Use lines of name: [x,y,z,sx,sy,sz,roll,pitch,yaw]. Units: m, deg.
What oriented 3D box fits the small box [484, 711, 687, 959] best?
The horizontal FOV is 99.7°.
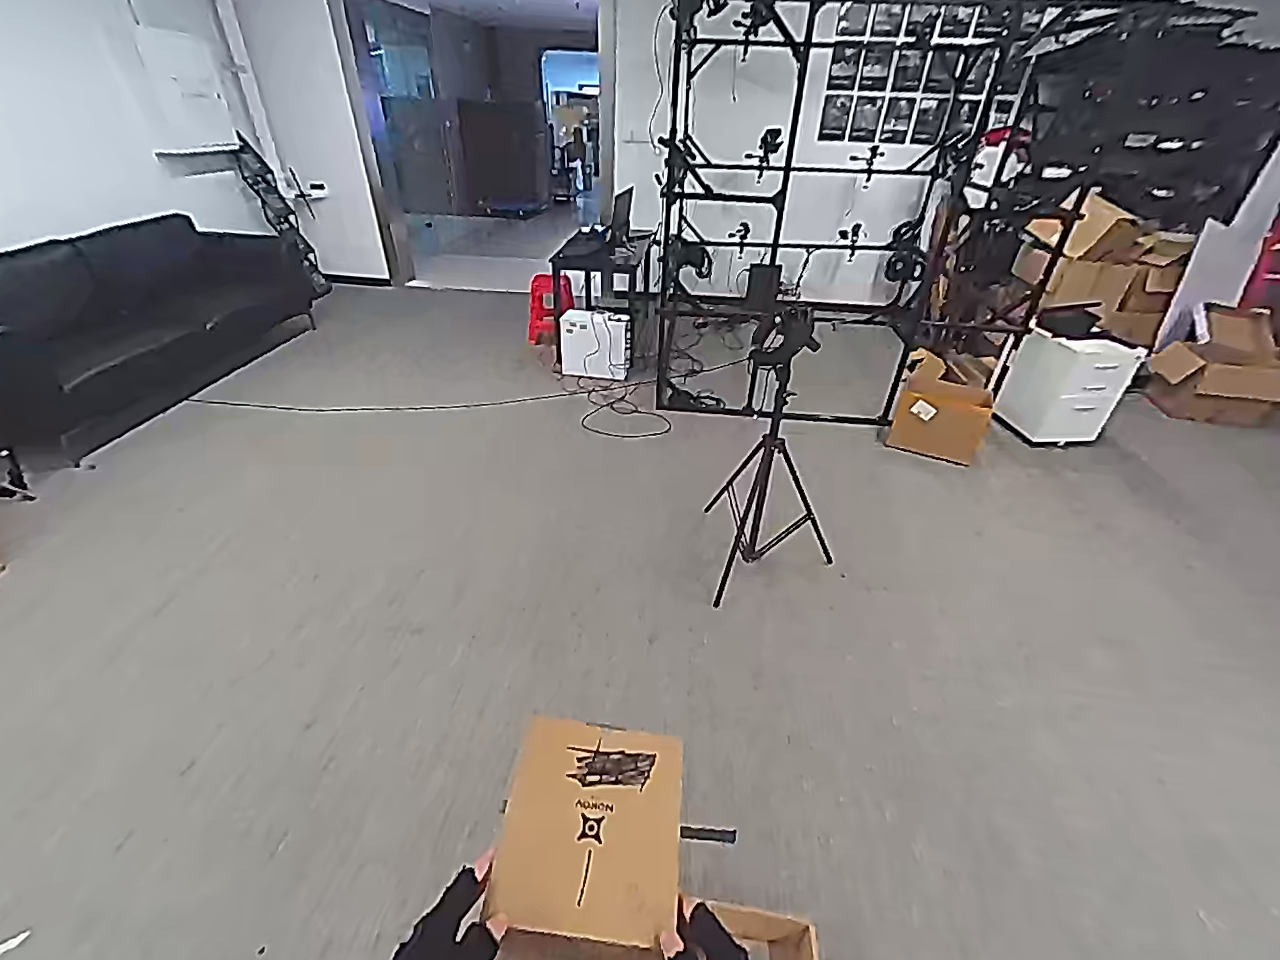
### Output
small box: [-0.051,0.367,0.546,0.168,0.176,0.179,9,40,-2]
